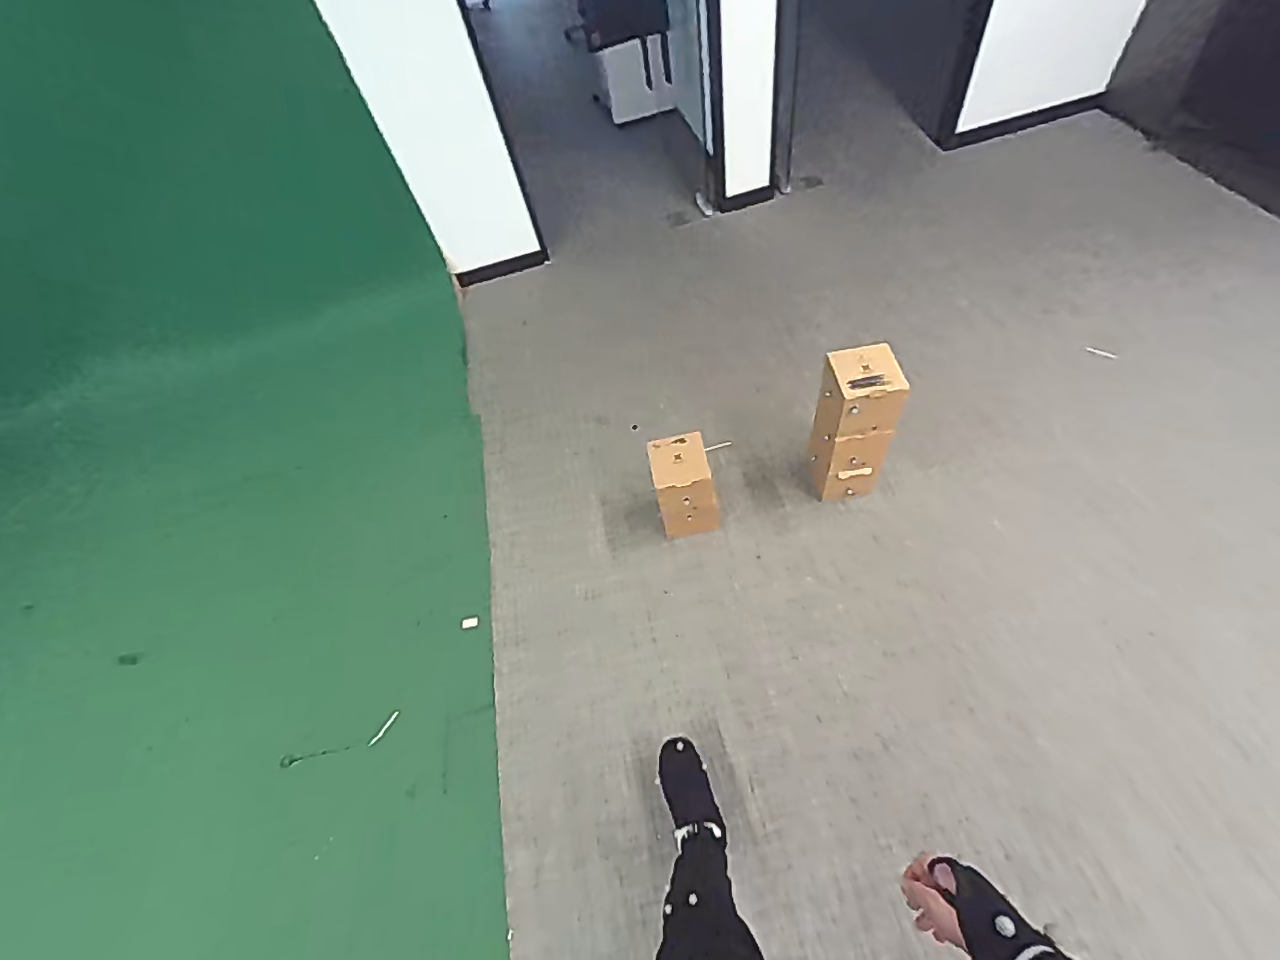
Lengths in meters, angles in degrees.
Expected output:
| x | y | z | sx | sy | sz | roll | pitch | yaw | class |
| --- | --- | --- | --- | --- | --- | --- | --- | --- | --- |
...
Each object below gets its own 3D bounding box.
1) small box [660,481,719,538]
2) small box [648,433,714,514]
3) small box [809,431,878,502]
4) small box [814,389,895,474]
| x | y | z | sx | sy | sz | roll | pitch | yaw | class |
| --- | --- | --- | --- | --- | --- | --- | --- | --- | --- |
| 0.156 | 0.075 | 1.765 | 0.179 | 0.176 | 0.168 | -11 | 56 | 3 | small box |
| 0.126 | -0.011 | 1.629 | 0.168 | 0.176 | 0.179 | -11 | 56 | 3 | small box |
| 0.651 | -0.051 | 1.751 | 0.168 | 0.176 | 0.179 | -7 | 56 | 9 | small box |
| 0.632 | -0.143 | 1.622 | 0.168 | 0.176 | 0.179 | -10 | 56 | 3 | small box |
